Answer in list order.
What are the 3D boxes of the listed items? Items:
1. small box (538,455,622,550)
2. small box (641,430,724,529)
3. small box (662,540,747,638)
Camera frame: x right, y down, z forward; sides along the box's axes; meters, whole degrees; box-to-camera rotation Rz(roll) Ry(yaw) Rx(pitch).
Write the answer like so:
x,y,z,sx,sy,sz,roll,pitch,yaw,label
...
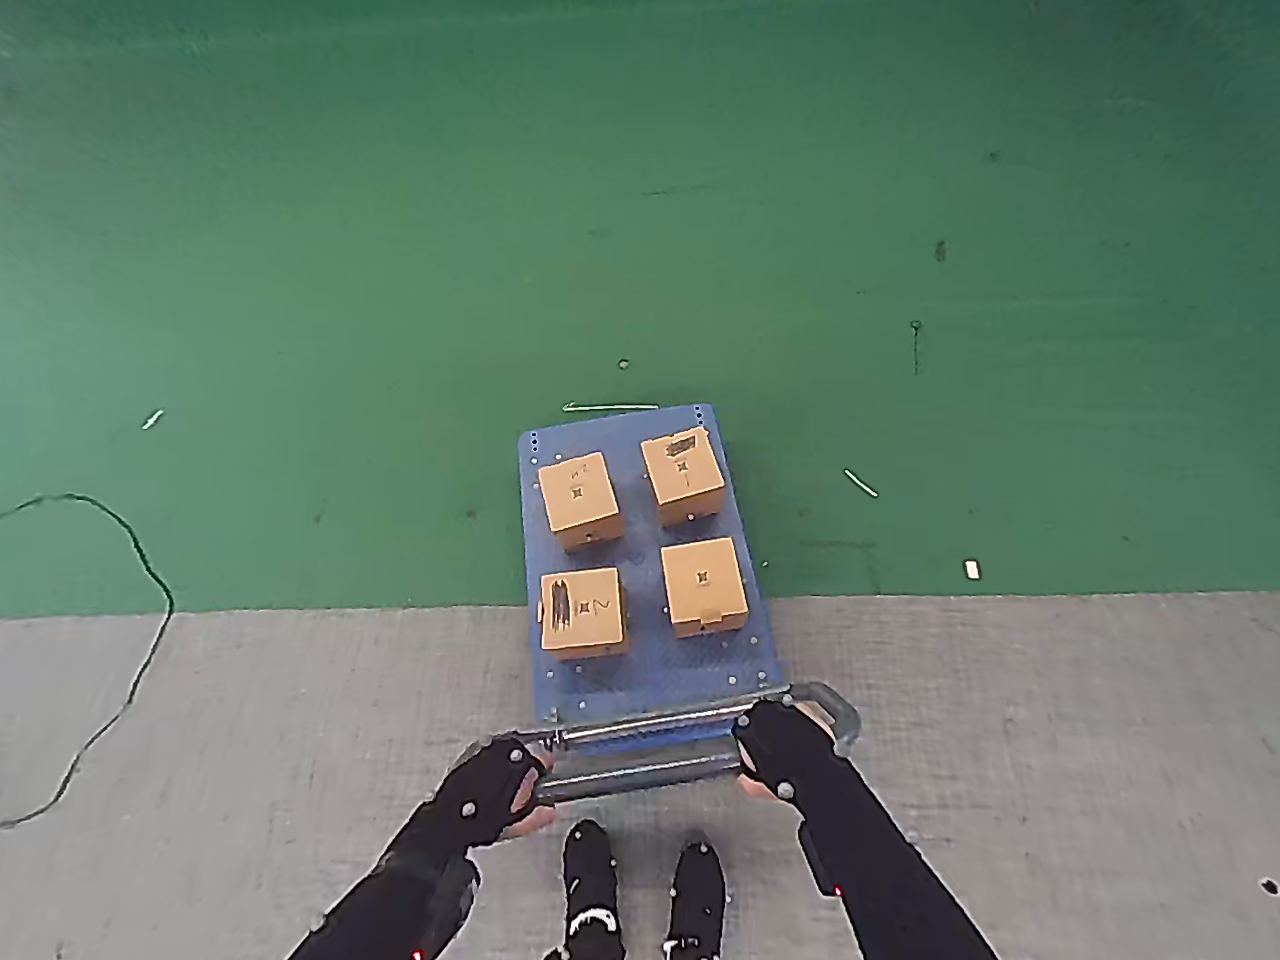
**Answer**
x,y,z,sx,sy,sz,roll,pitch,yaw,label
-0.147,0.066,1.370,0.168,0.176,0.179,-16,65,-4,small box
0.105,0.002,1.384,0.168,0.176,0.179,-16,65,-3,small box
0.142,0.258,1.261,0.168,0.176,0.179,-9,65,0,small box
